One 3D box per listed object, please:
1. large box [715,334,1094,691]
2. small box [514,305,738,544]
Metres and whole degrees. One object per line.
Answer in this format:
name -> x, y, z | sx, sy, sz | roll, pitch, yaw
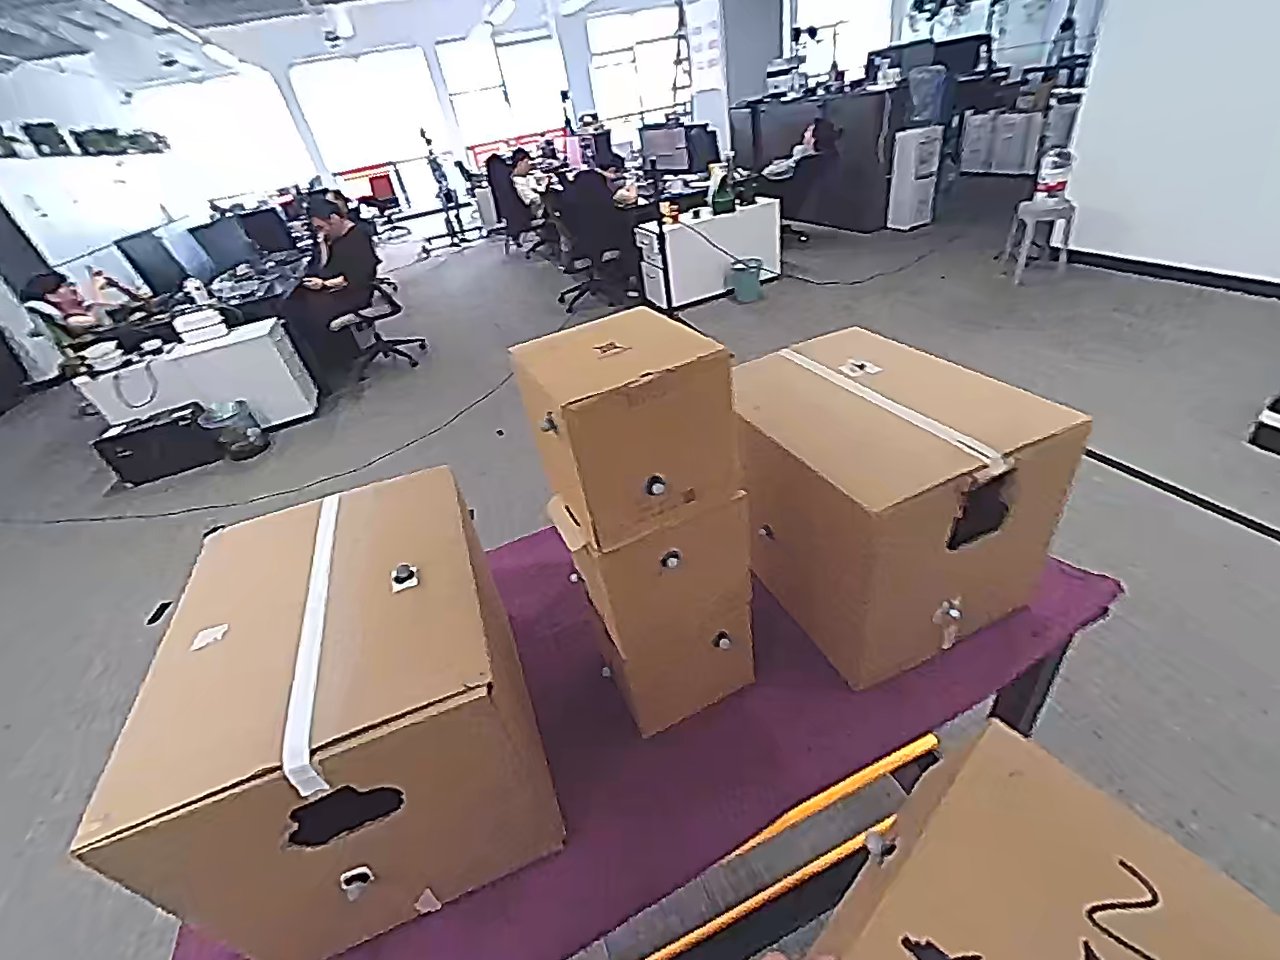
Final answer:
large box -> 0.329, 0.018, 0.811 | 0.320, 0.320, 0.408 | -20, 34, -13
small box -> -0.013, -0.064, 0.566 | 0.168, 0.176, 0.179 | -23, 37, -17
